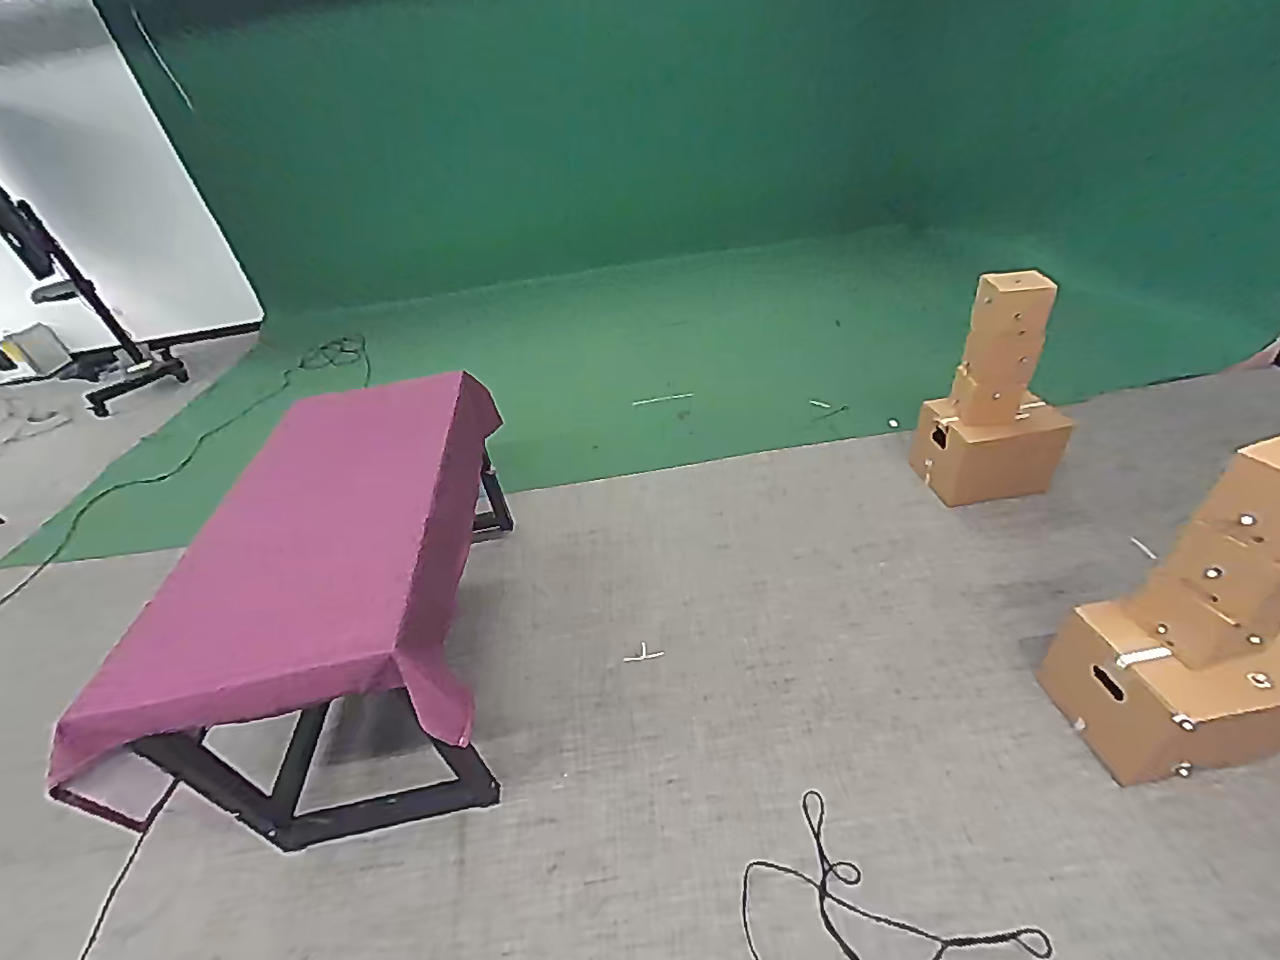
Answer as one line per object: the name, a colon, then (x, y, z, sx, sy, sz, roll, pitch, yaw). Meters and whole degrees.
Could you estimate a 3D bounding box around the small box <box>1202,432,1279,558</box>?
small box: (1.243, 0.023, 1.021, 0.179, 0.176, 0.168, -16, 37, -8)

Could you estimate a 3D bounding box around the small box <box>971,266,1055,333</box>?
small box: (1.243, -0.602, 1.816, 0.168, 0.176, 0.179, -1, 38, 11)

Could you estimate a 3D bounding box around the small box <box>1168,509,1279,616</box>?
small box: (1.262, 0.154, 1.120, 0.179, 0.176, 0.168, -16, 37, -7)

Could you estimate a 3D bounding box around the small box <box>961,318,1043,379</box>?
small box: (1.269, -0.468, 1.909, 0.179, 0.176, 0.168, -2, 37, 11)

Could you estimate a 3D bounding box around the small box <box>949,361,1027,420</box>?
small box: (1.280, -0.336, 2.004, 0.179, 0.176, 0.168, -4, 38, 8)

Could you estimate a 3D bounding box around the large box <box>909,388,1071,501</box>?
large box: (1.361, -0.152, 2.148, 0.408, 0.320, 0.320, -9, 38, -2)
